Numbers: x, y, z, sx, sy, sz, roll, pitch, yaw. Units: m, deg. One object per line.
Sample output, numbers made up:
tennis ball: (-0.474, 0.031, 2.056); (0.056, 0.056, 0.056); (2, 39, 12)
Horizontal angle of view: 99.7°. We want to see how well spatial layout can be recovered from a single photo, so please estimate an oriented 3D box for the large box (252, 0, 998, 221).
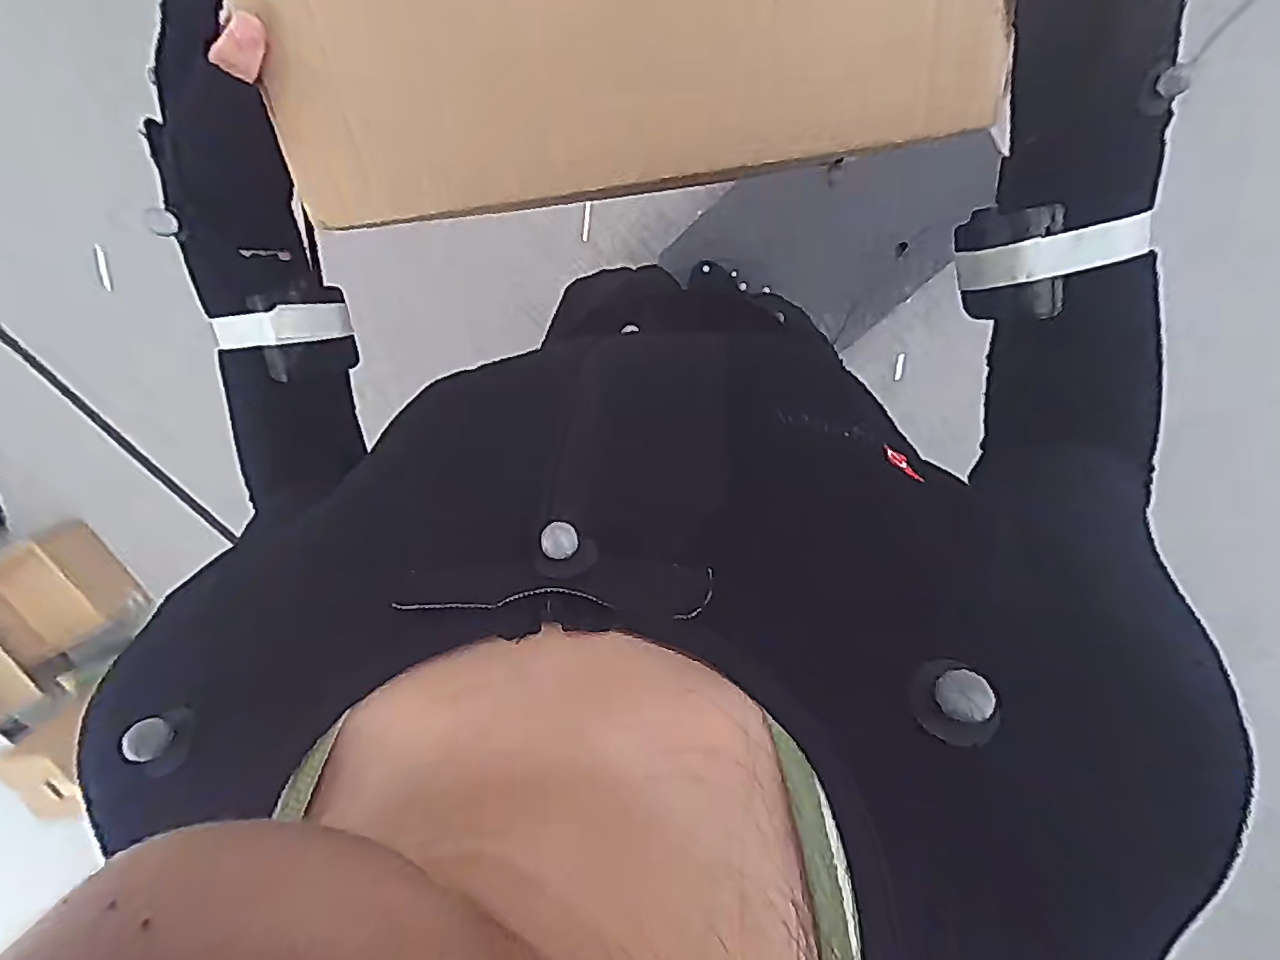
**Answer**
large box: (-0.009, -0.388, 0.387); (0.408, 0.320, 0.320); (-3, 117, 7)
